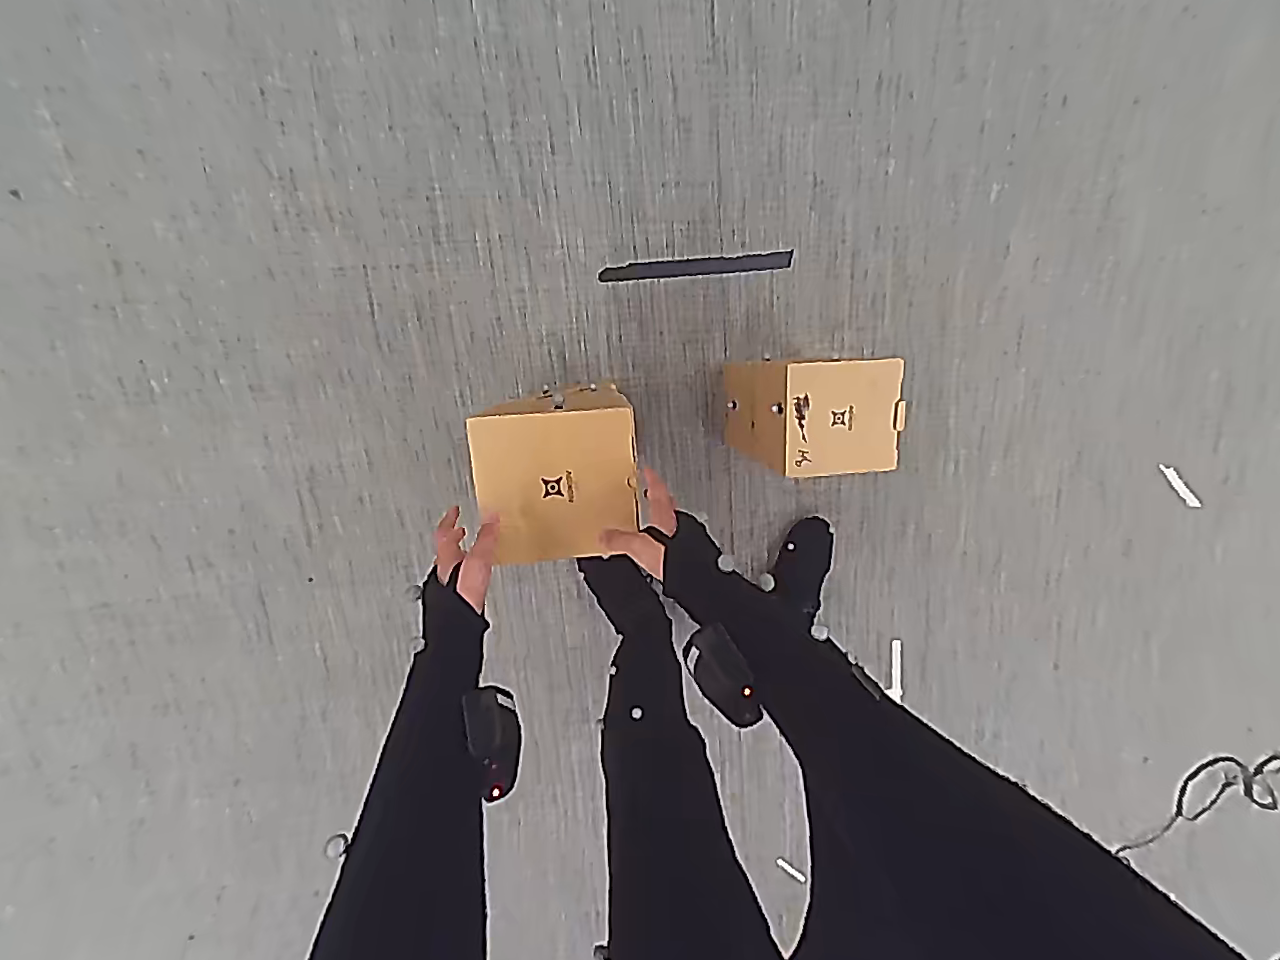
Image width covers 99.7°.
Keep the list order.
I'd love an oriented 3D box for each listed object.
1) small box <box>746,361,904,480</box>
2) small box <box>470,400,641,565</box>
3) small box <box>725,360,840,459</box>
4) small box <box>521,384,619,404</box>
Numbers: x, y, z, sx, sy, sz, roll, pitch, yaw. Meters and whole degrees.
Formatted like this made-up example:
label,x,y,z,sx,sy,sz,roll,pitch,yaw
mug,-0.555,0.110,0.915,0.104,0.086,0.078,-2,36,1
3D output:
label,x,y,z,sx,sy,sz,roll,pitch,yaw
small box,0.282,-0.101,0.854,0.179,0.176,0.168,-4,103,-7
small box,-0.096,-0.008,0.664,0.179,0.176,0.168,-5,103,-5
small box,0.262,-0.137,1.013,0.179,0.176,0.168,-5,104,-7
small box,-0.113,-0.077,0.982,0.168,0.176,0.179,-11,104,-4
